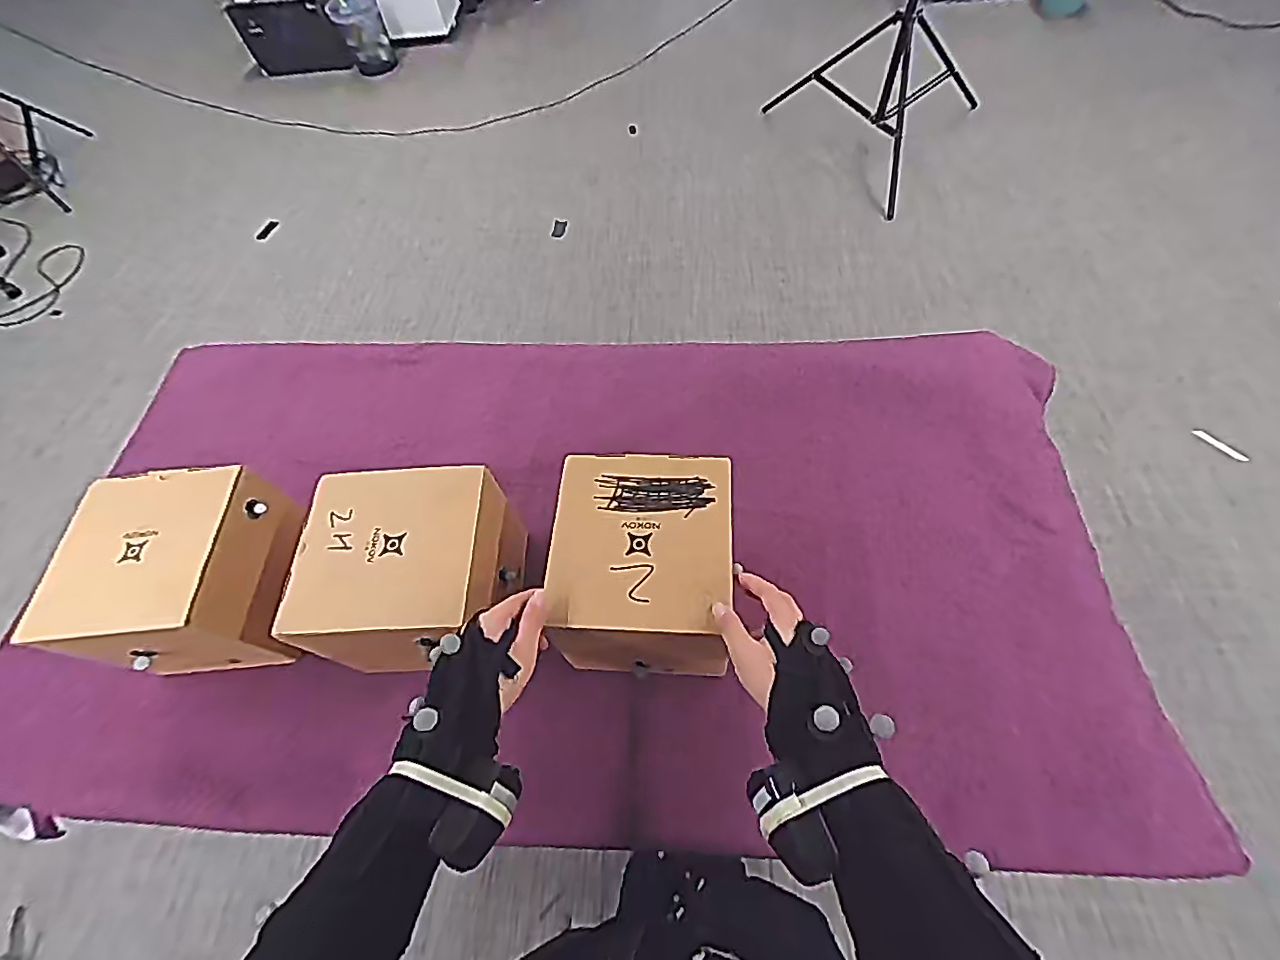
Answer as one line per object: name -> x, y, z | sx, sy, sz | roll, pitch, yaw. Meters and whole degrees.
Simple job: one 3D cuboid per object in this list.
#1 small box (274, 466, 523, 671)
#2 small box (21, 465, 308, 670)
small box -> -0.232, 0.101, 0.579 | 0.179, 0.176, 0.168 | -4, 58, 2
small box -> -0.487, 0.107, 0.603 | 0.168, 0.176, 0.179 | -6, 59, 2
